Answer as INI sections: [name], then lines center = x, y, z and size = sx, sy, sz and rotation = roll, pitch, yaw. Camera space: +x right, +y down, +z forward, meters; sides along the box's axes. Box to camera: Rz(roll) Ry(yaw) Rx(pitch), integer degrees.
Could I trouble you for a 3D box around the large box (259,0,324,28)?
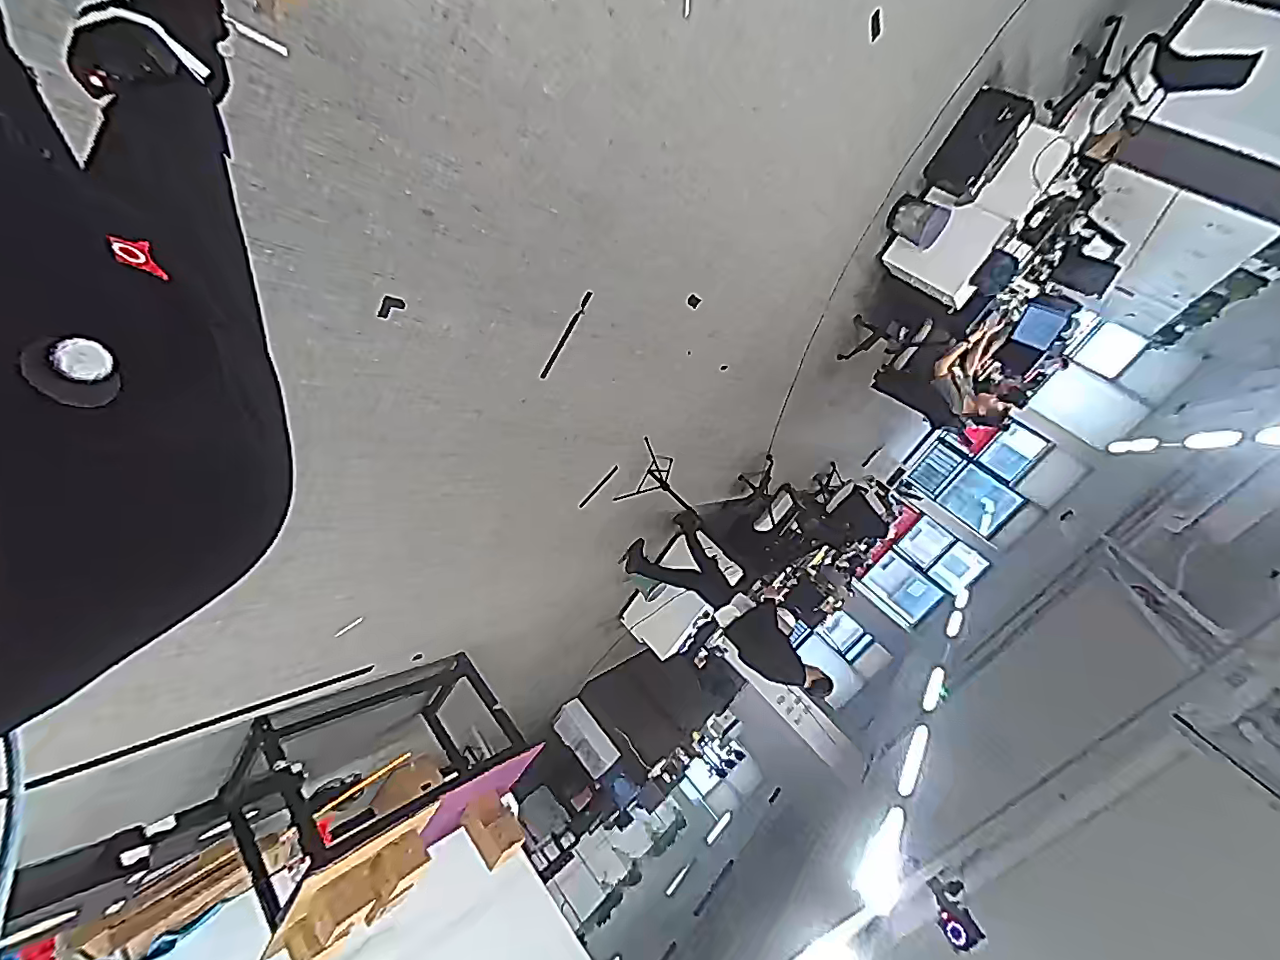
[large box]
center = -0.288, -0.635, 0.414
size = 0.320, 0.408, 0.320
rotation = -39, 133, -4
